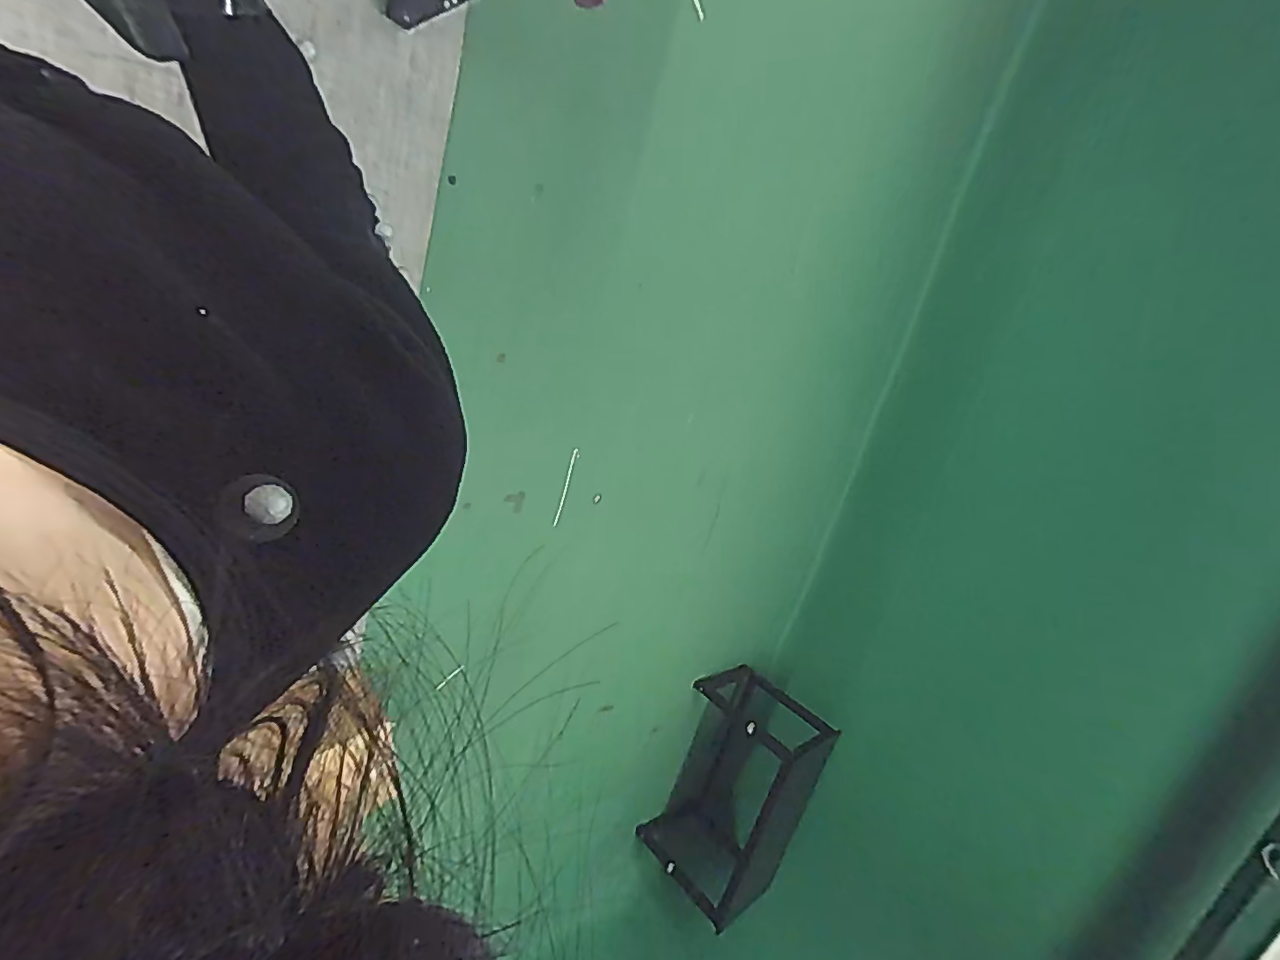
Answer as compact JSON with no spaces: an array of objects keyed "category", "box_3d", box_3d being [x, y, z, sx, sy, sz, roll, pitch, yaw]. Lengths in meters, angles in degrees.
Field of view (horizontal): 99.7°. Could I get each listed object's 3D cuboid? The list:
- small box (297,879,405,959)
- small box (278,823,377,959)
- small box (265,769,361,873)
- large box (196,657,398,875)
[{"category":"small box","box_3d":[-0.618,1.009,1.158,0.168,0.176,0.179,-11,117,-41]},{"category":"small box","box_3d":[-0.729,0.948,1.263,0.168,0.176,0.179,-9,117,-42]},{"category":"small box","box_3d":[-0.829,0.883,1.375,0.179,0.176,0.168,-11,118,-41]},{"category":"large box","box_3d":[-0.970,0.787,1.553,0.408,0.320,0.320,-16,124,-41]}]
